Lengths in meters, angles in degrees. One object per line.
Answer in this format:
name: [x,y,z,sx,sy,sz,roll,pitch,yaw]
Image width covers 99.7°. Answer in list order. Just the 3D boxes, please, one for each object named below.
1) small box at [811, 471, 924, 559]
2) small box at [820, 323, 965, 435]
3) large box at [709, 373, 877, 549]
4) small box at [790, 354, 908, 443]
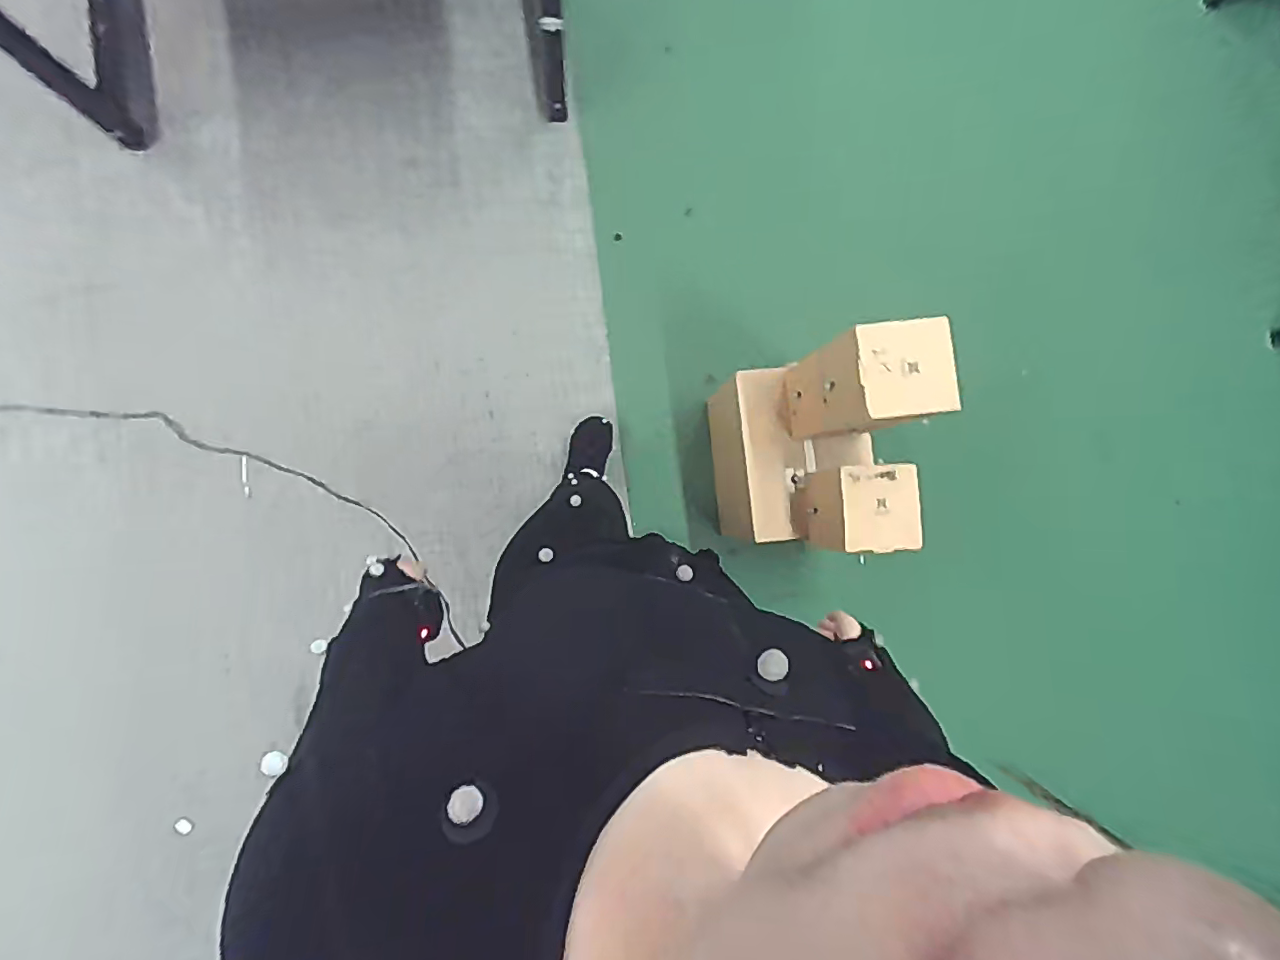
small box: [0.475,0.073,1.150,0.168,0.176,0.179,0,86,-6]
small box: [0.458,-0.181,1.001,0.179,0.176,0.168,-6,87,-6]
large box: [0.382,-0.049,1.395,0.320,0.320,0.408,-6,88,-5]
small box: [0.444,-0.174,1.165,0.179,0.176,0.168,-5,88,-6]
